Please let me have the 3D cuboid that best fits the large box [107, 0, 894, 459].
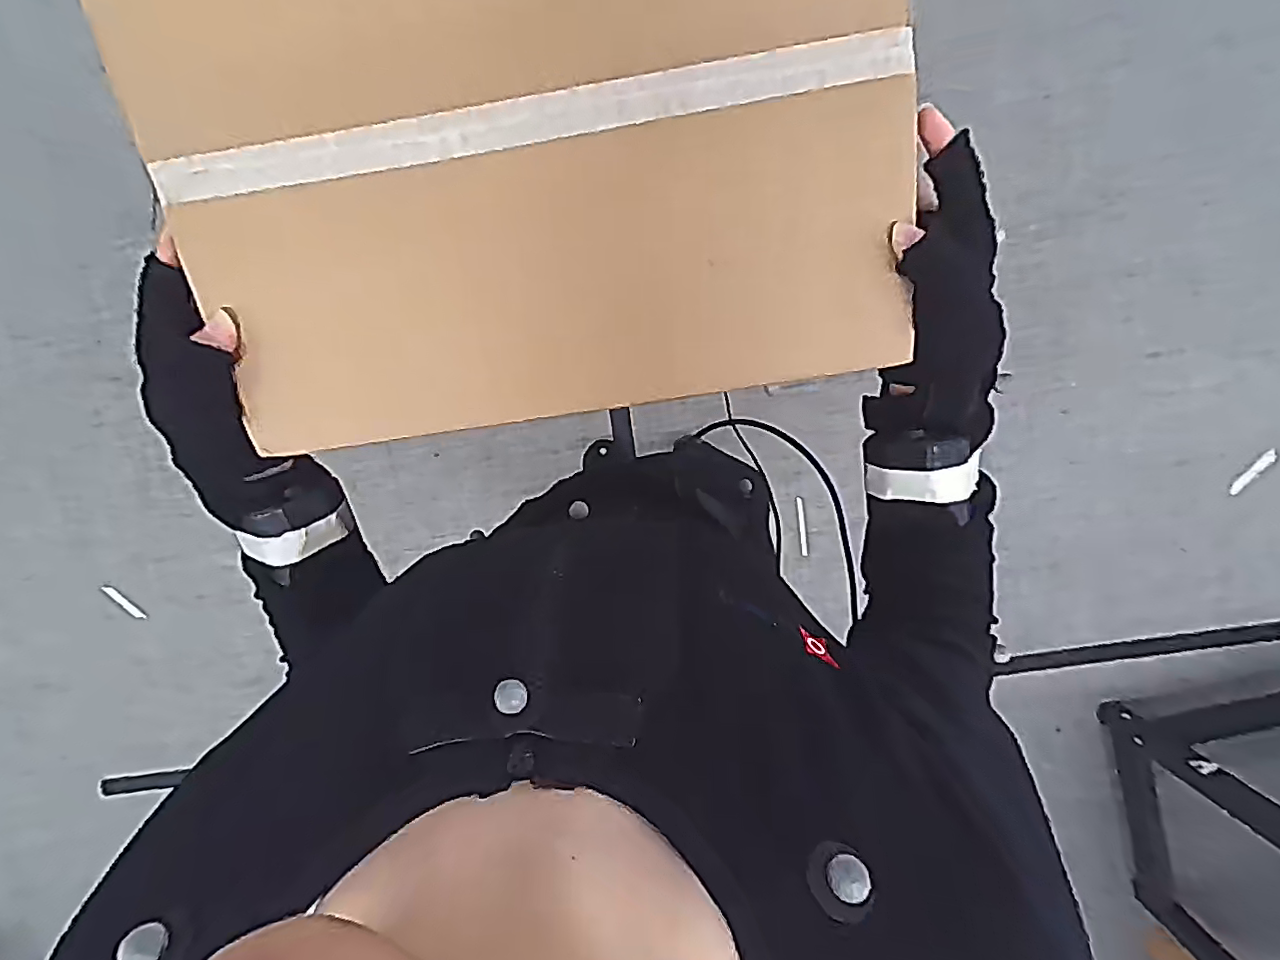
[{"bbox_3d":[-0.061,-0.233,0.438,0.408,0.320,0.320,-8,107,3],"label":"large box"}]
